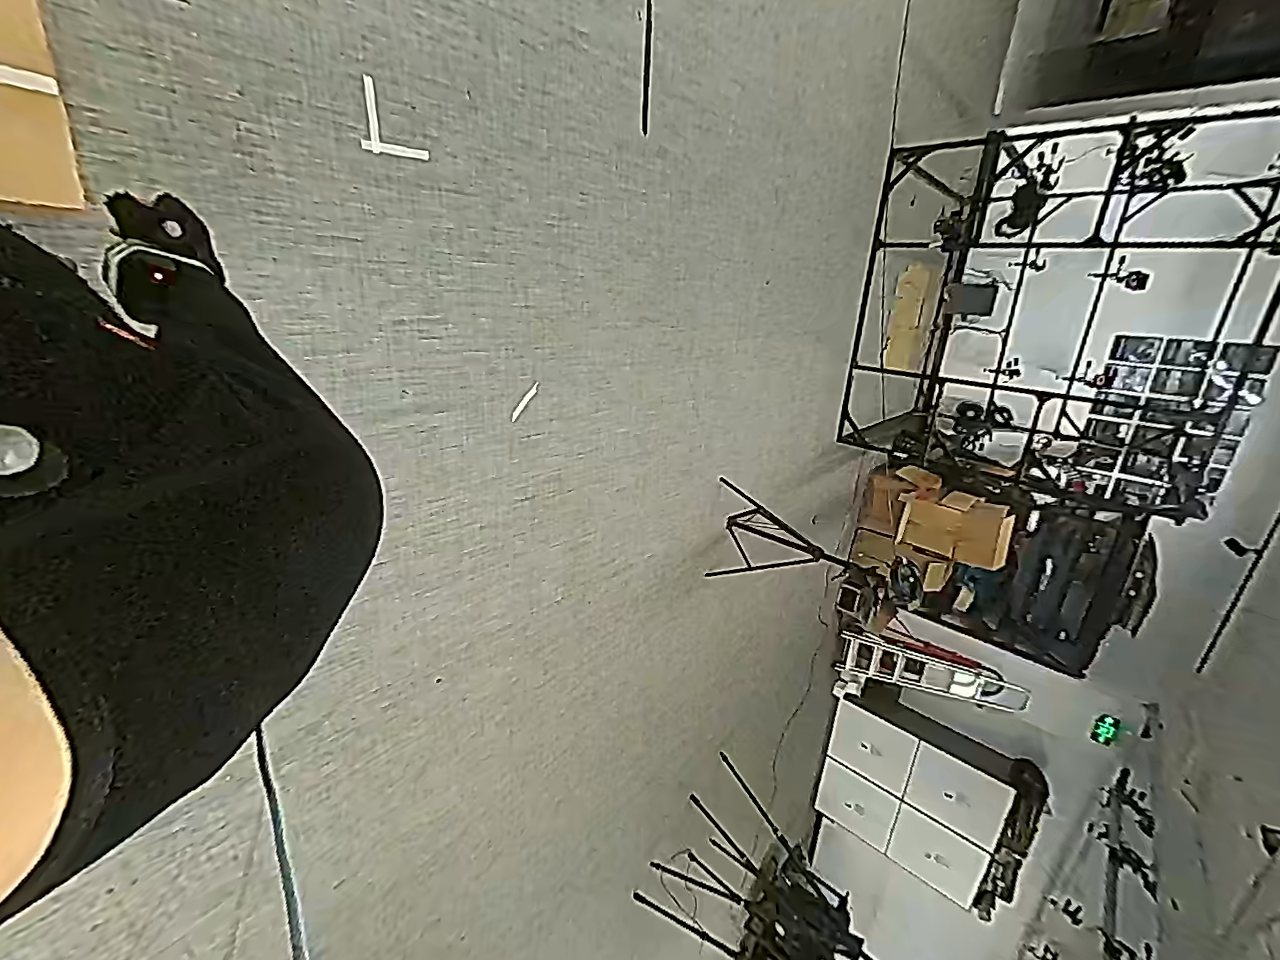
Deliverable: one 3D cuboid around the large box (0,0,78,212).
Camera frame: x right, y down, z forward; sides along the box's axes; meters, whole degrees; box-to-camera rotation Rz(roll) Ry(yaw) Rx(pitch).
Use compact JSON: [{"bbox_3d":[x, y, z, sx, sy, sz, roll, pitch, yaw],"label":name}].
[{"bbox_3d":[-1.074,-0.554,0.704,0.408,0.320,0.320,-18,118,-47],"label":"large box"}]
